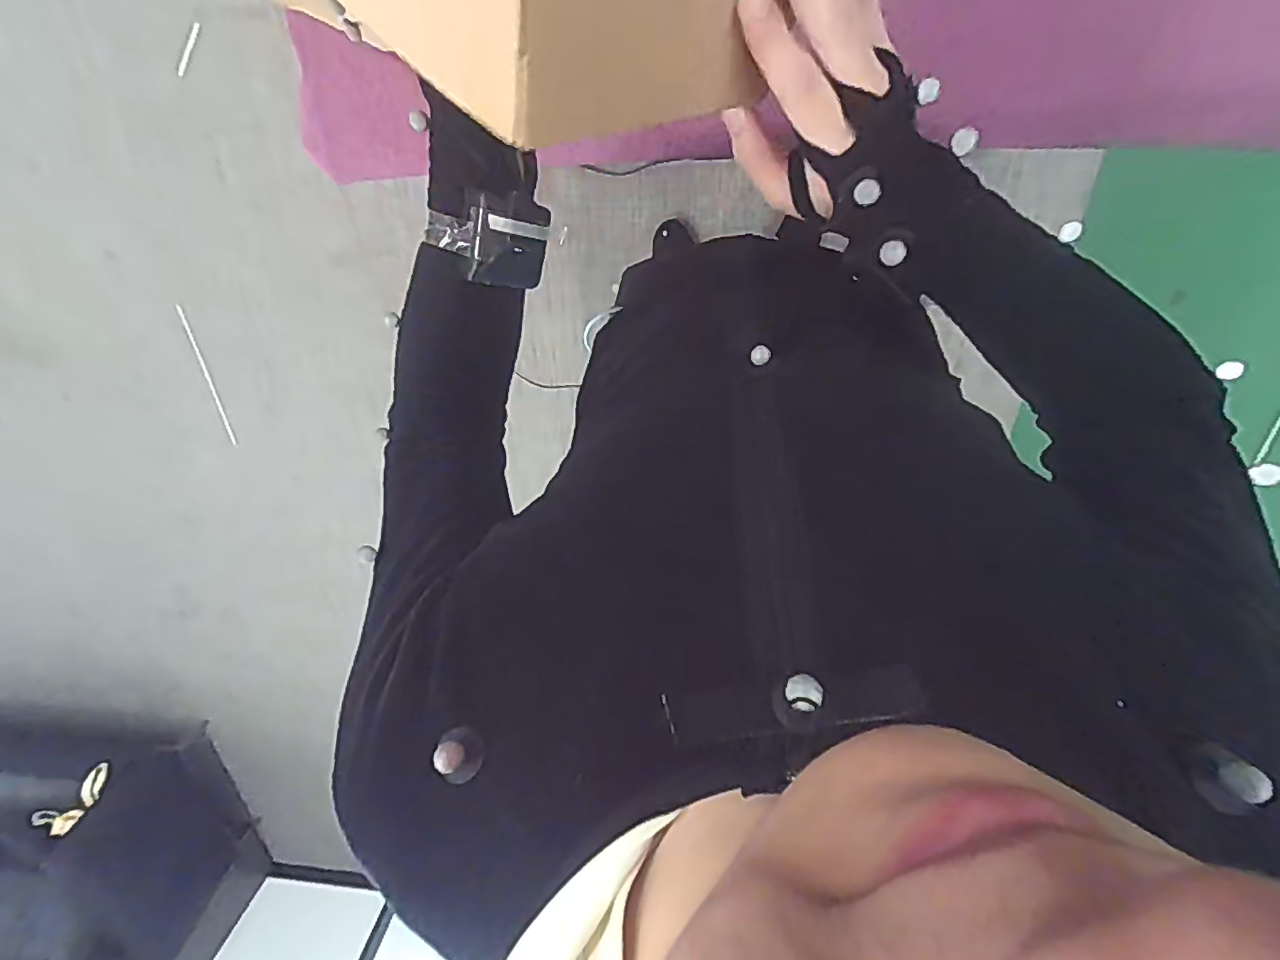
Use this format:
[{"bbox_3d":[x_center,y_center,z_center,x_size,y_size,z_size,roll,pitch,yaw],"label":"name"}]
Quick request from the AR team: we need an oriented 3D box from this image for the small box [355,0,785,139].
[{"bbox_3d":[-0.026,-0.274,0.209,0.179,0.176,0.168,44,147,15],"label":"small box"}]
